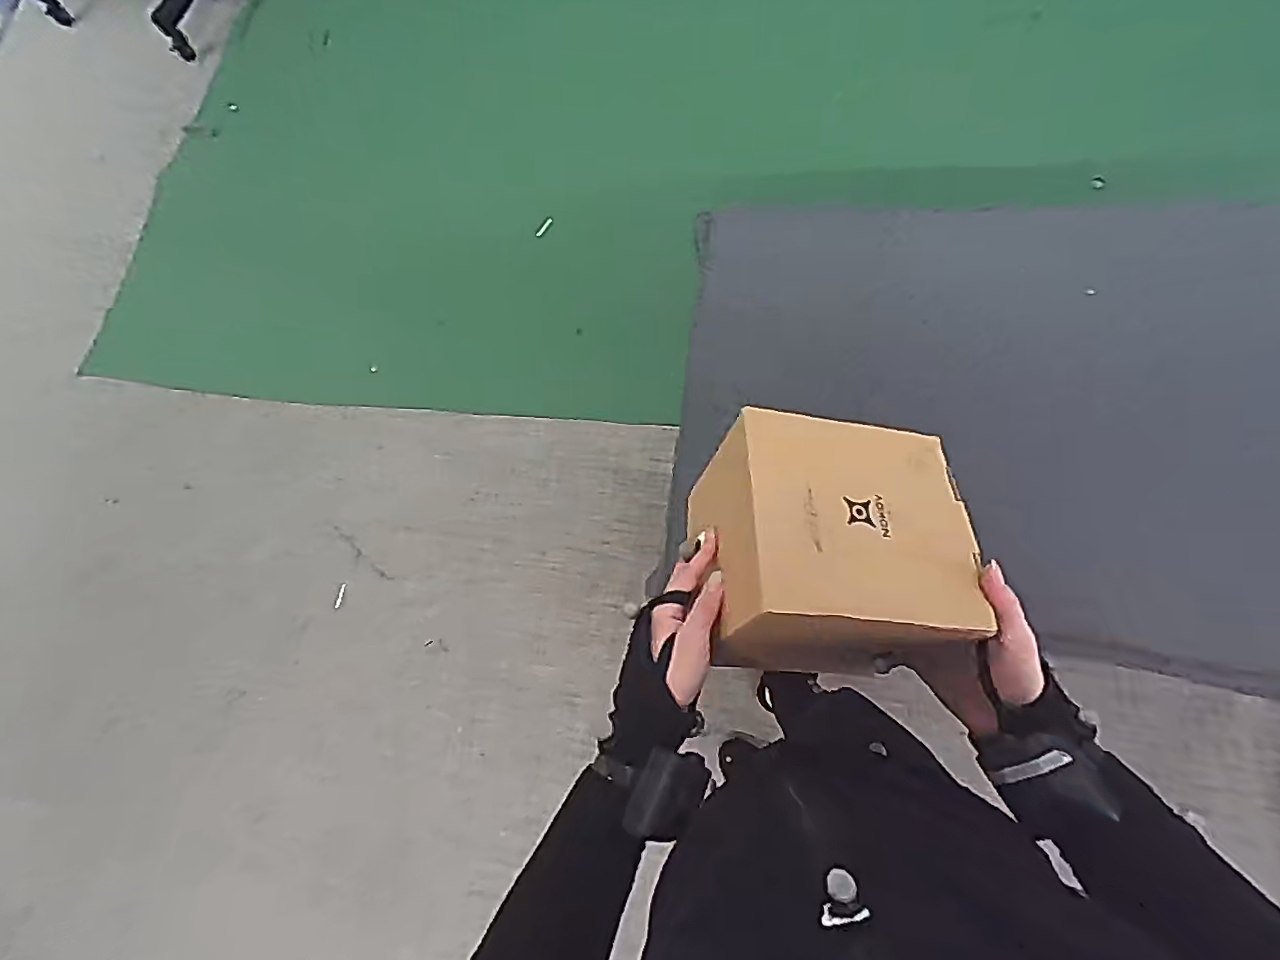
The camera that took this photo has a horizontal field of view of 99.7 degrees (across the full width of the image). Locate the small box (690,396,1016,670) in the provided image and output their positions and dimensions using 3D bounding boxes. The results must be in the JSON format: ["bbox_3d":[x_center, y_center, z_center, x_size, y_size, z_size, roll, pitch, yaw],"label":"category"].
[{"bbox_3d":[0.150,0.056,0.451,0.179,0.176,0.168,6,58,-10],"label":"small box"}]
